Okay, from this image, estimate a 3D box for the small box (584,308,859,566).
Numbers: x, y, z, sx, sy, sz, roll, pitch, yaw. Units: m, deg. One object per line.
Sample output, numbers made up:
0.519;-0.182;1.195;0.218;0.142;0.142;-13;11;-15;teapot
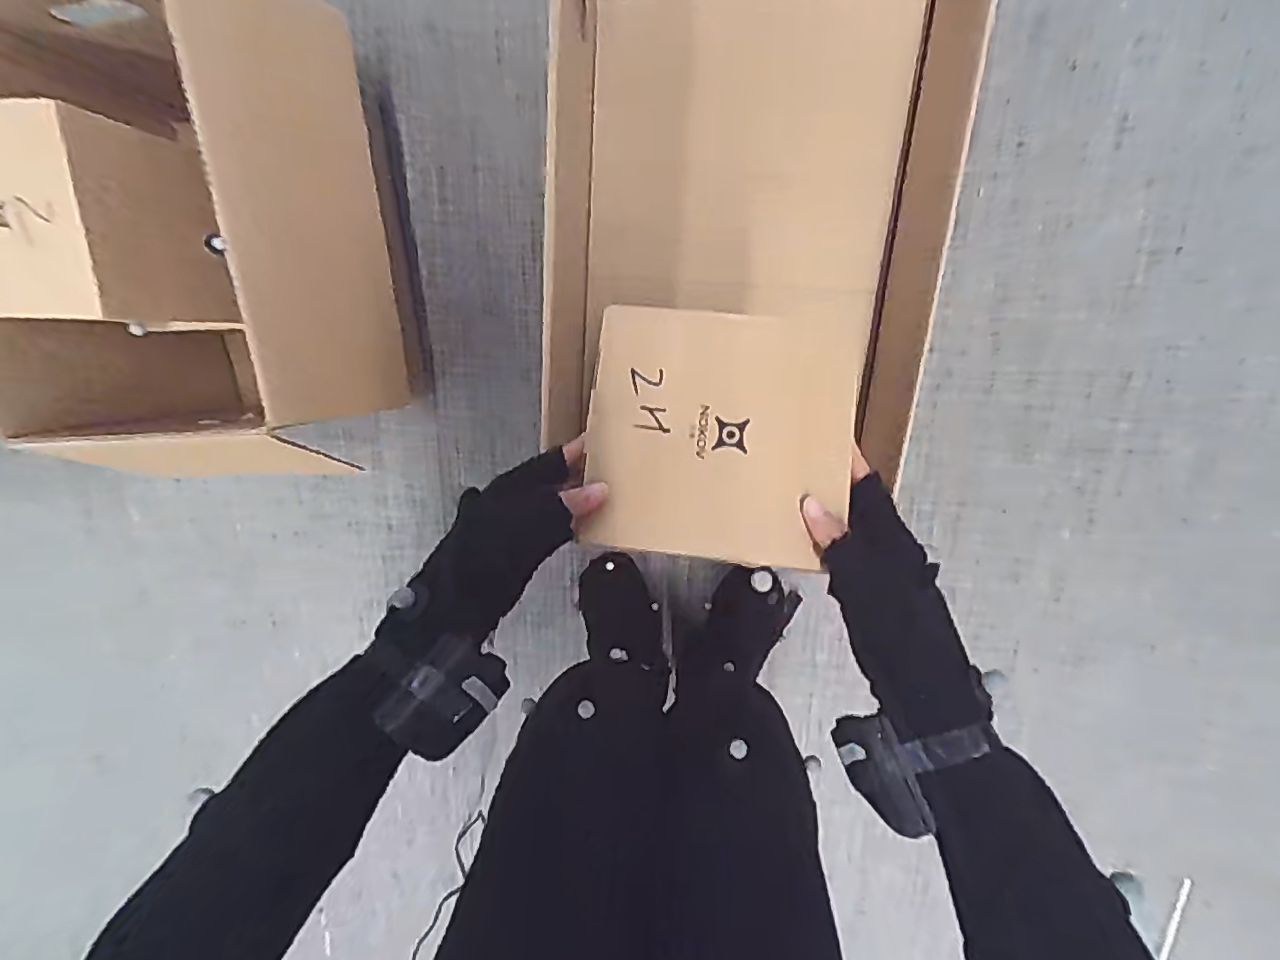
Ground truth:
0.062;-0.022;0.451;0.179;0.176;0.168;6;81;5;small box
